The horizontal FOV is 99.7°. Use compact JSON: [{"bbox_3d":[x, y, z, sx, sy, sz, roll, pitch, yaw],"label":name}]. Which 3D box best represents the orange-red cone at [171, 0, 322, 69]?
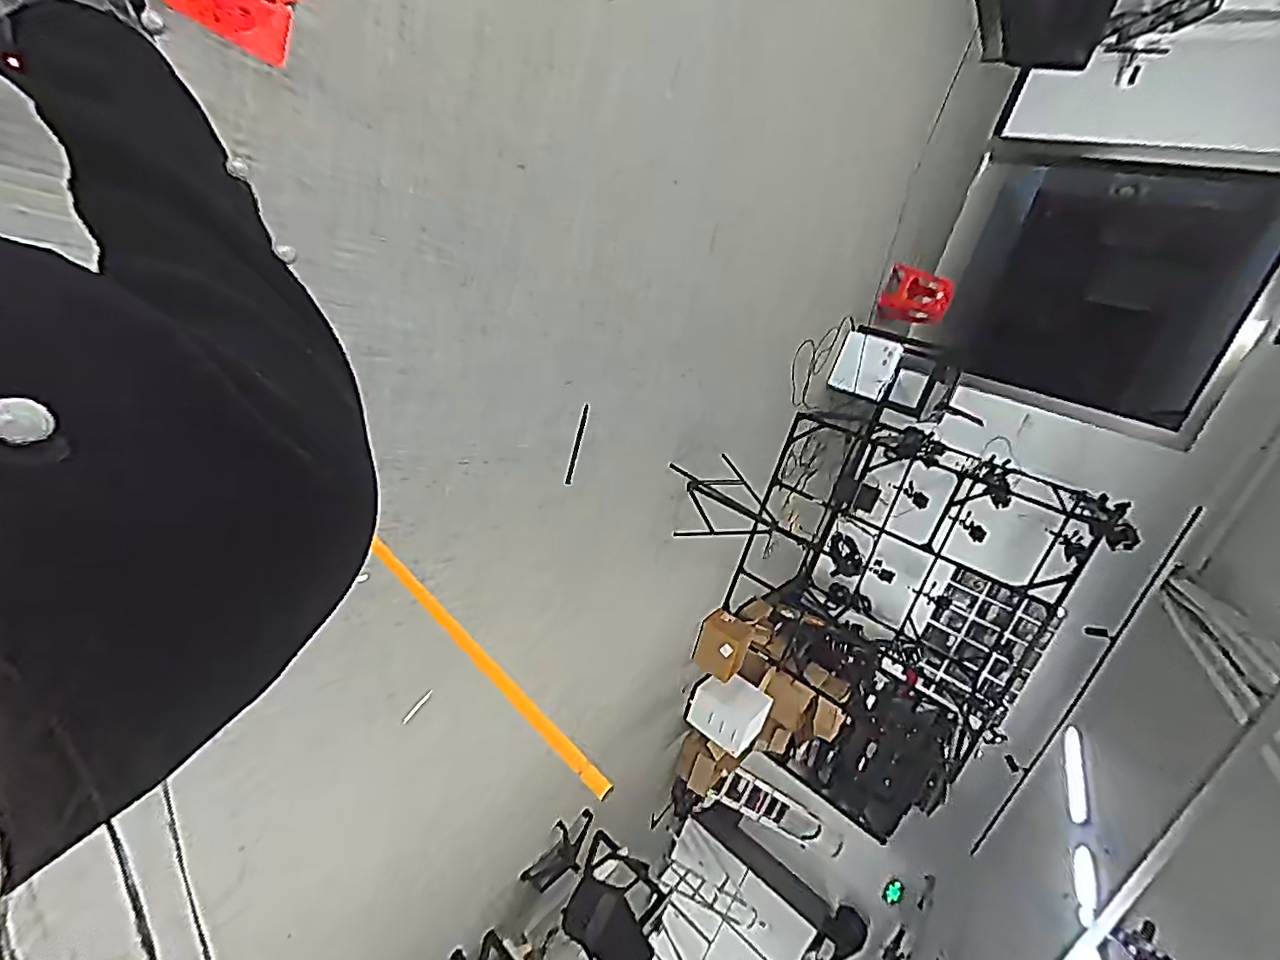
[{"bbox_3d":[-0.607,-0.844,0.911,0.199,0.360,0.198,2,112,-58],"label":"orange-red cone"}]
